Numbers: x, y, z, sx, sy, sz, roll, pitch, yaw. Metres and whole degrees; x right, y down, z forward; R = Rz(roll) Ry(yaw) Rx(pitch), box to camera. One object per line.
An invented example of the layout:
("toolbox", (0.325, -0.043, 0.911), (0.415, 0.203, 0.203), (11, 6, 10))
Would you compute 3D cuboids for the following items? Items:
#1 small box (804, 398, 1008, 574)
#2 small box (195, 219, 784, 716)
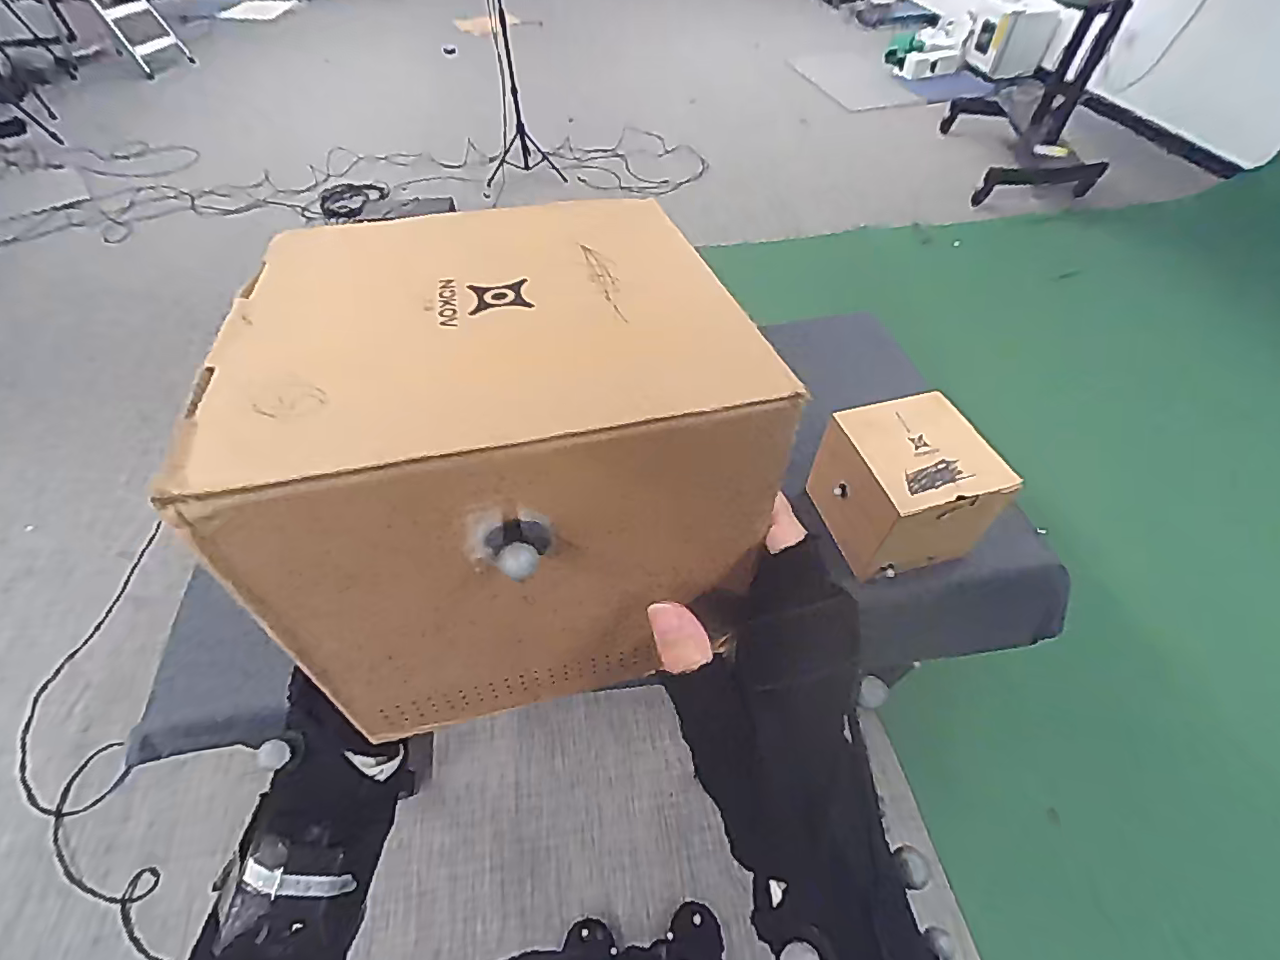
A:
("small box", (0.354, 0.016, 0.760), (0.168, 0.176, 0.179), (-12, 51, -8))
("small box", (-0.057, -0.008, 0.268), (0.179, 0.176, 0.168), (-10, 48, -13))
